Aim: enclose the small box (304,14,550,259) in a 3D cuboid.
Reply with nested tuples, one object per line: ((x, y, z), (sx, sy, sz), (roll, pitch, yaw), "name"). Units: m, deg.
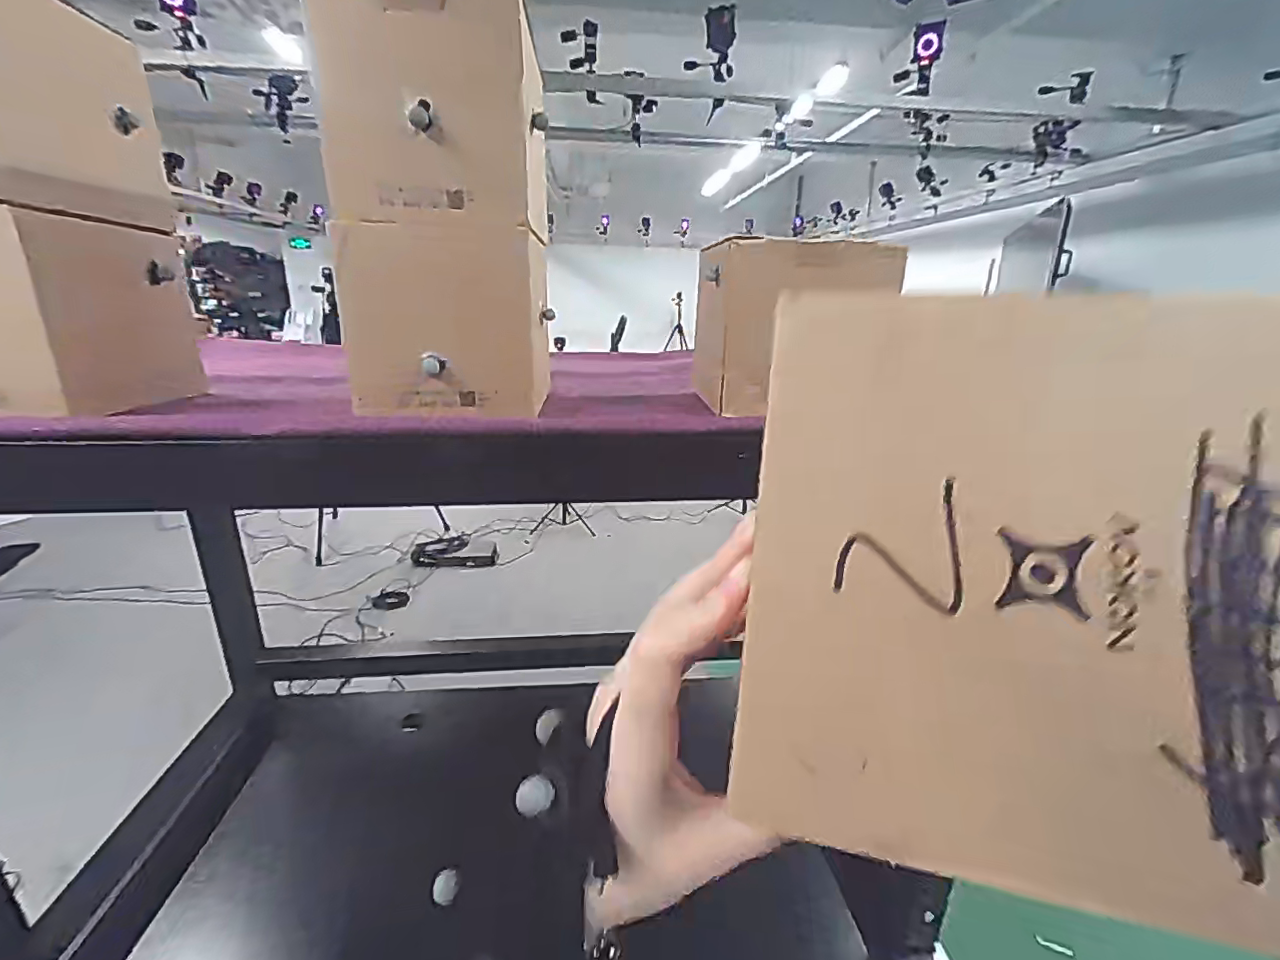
((-0.177, -0.300, 0.514), (0.168, 0.176, 0.179), (-1, 19, -4), "small box")

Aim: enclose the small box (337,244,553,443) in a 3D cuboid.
((-0.180, -0.141, 0.556), (0.168, 0.176, 0.179), (-1, 20, -4), "small box")

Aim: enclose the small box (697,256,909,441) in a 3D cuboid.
((0.157, -0.146, 0.590), (0.168, 0.176, 0.179), (0, 20, -3), "small box")

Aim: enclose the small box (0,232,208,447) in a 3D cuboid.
((-0.550, -0.133, 0.506), (0.168, 0.176, 0.179), (-1, 18, -5), "small box")

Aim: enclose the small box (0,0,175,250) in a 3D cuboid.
((-0.545, -0.287, 0.456), (0.168, 0.176, 0.179), (-1, 18, -3), "small box")
